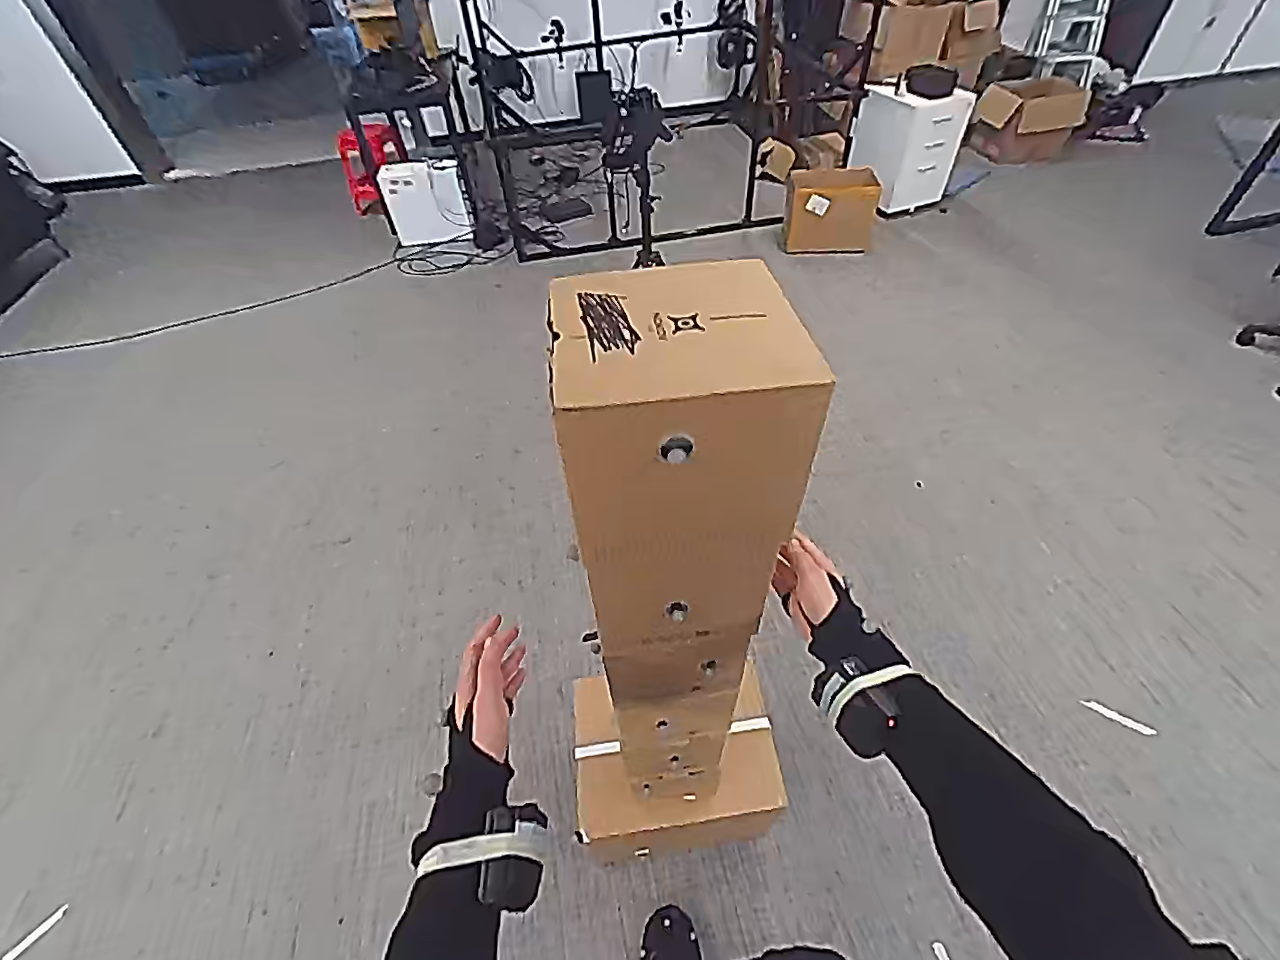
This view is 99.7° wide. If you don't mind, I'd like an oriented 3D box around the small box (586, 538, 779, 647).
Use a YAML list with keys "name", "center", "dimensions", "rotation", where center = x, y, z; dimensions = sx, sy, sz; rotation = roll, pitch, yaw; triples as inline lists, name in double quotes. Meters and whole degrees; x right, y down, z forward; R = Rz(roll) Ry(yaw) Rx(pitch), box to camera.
- name: "small box"
  center: [0.031, 0.057, 0.560]
  dimensions: [0.168, 0.176, 0.179]
  rotation: [-7, 47, -4]

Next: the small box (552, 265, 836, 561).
- name: "small box"
  center: [0.029, -0.050, 0.436]
  dimensions: [0.179, 0.176, 0.168]
  rotation: [-6, 48, -4]

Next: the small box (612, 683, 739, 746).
- name: "small box"
  center: [0.041, 0.277, 0.803]
  dimensions: [0.168, 0.176, 0.179]
  rotation: [-9, 47, -4]

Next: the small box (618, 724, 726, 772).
- name: "small box"
  center: [0.046, 0.384, 0.925]
  dimensions: [0.168, 0.176, 0.179]
  rotation: [-7, 49, -3]

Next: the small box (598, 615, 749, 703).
- name: "small box"
  center: [0.032, 0.165, 0.686]
  dimensions: [0.168, 0.176, 0.179]
  rotation: [-9, 46, -5]
